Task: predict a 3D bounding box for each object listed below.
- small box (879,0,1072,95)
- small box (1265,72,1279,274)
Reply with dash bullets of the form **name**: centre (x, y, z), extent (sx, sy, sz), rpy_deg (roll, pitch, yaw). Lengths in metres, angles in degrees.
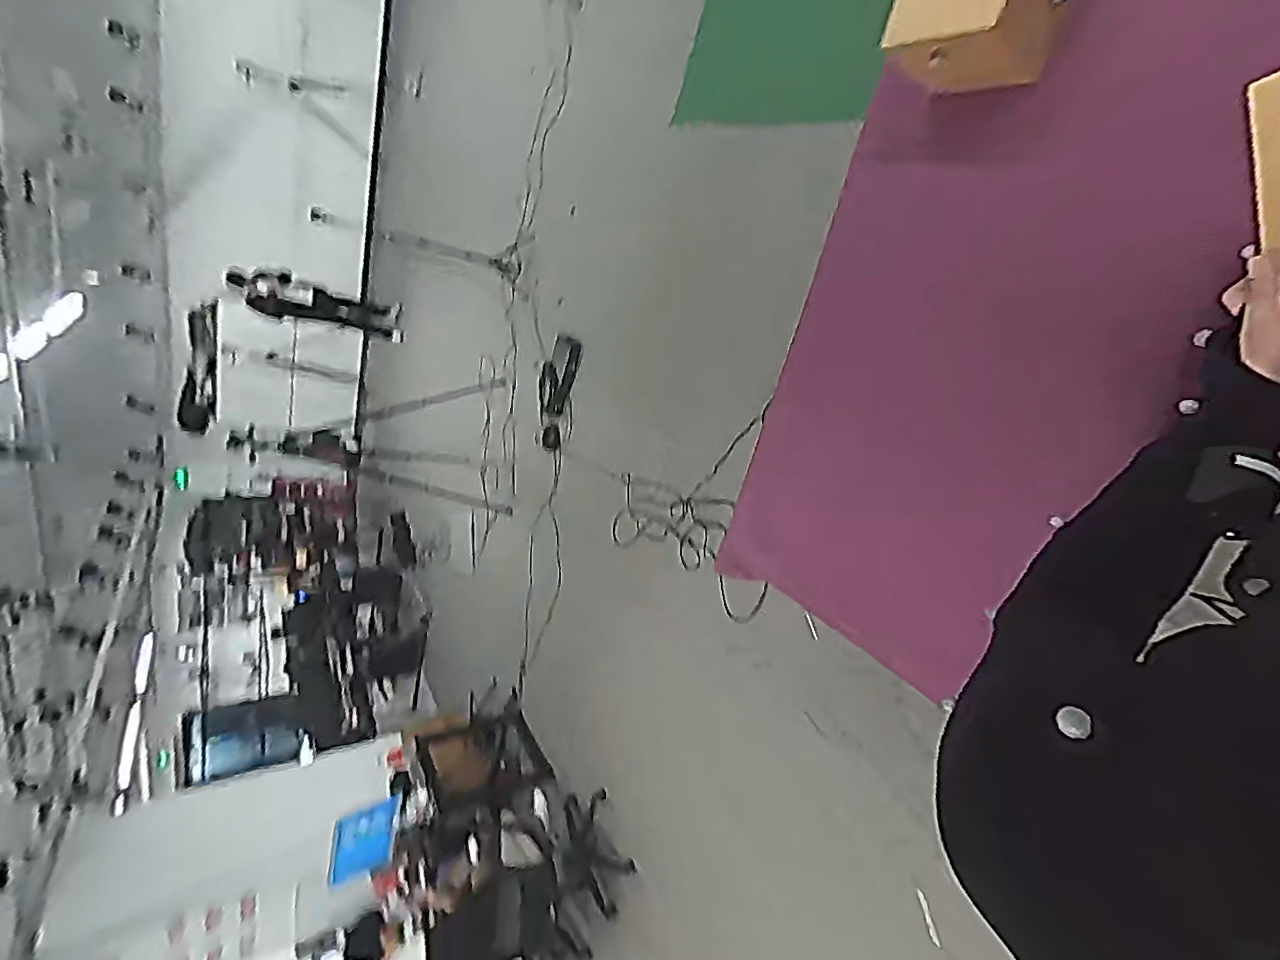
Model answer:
- **small box**: centre (0.499, -0.696, 0.795), extent (0.179, 0.176, 0.168), rpy_deg (37, 119, 46)
- **small box**: centre (0.634, -0.250, 0.431), extent (0.168, 0.176, 0.179), rpy_deg (-6, 84, 54)
